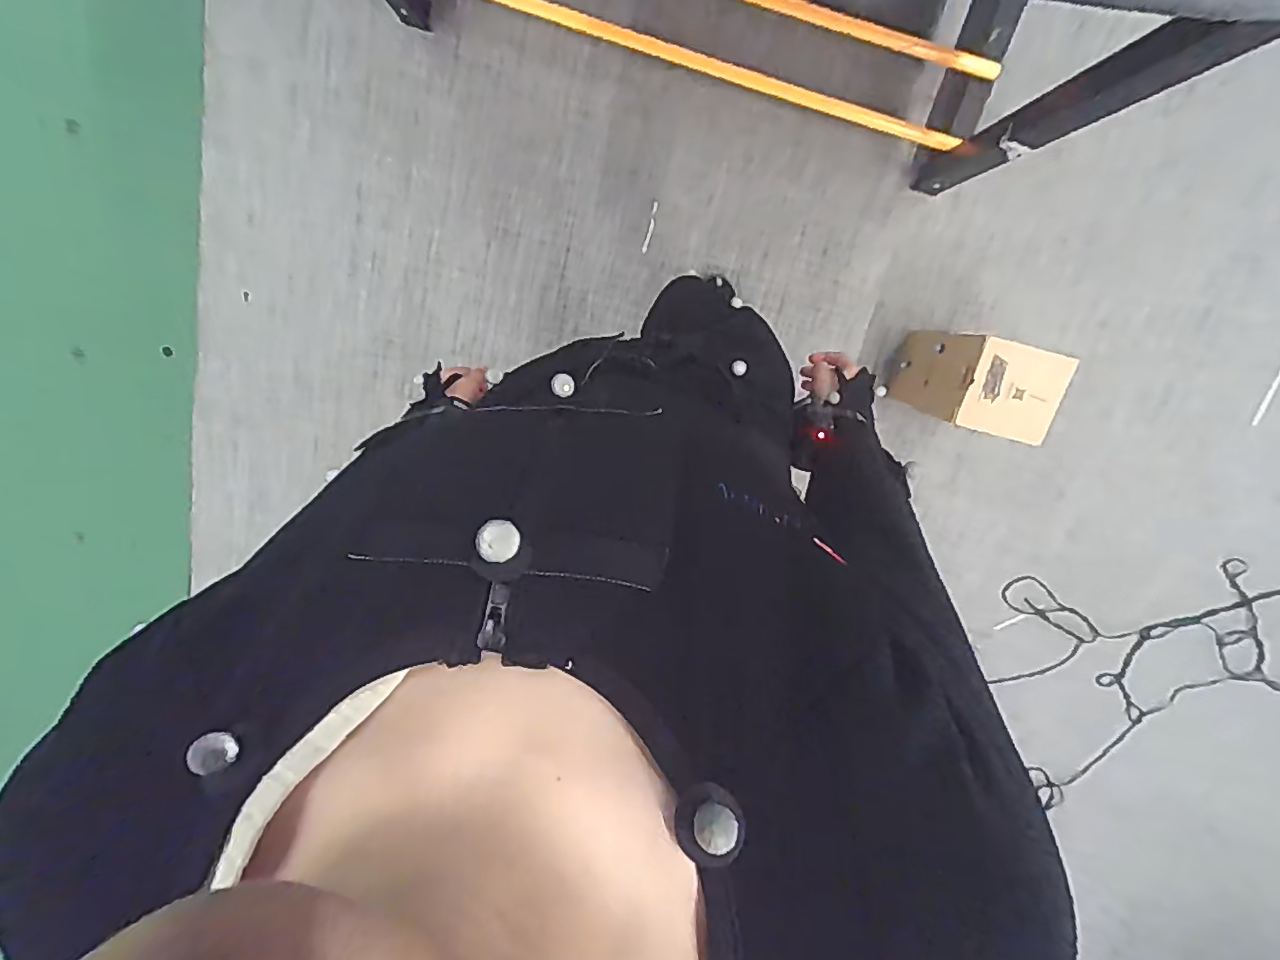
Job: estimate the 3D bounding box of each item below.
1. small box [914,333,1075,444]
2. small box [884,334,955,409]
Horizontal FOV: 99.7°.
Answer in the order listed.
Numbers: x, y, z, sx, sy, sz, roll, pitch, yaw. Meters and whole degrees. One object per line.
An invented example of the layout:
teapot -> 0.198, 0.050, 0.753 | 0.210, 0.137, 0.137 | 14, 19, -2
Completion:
small box -> 0.674, -0.183, 1.055 | 0.179, 0.176, 0.168 | 13, 105, -4
small box -> 0.689, -0.227, 1.213 | 0.179, 0.176, 0.168 | 16, 105, -4
